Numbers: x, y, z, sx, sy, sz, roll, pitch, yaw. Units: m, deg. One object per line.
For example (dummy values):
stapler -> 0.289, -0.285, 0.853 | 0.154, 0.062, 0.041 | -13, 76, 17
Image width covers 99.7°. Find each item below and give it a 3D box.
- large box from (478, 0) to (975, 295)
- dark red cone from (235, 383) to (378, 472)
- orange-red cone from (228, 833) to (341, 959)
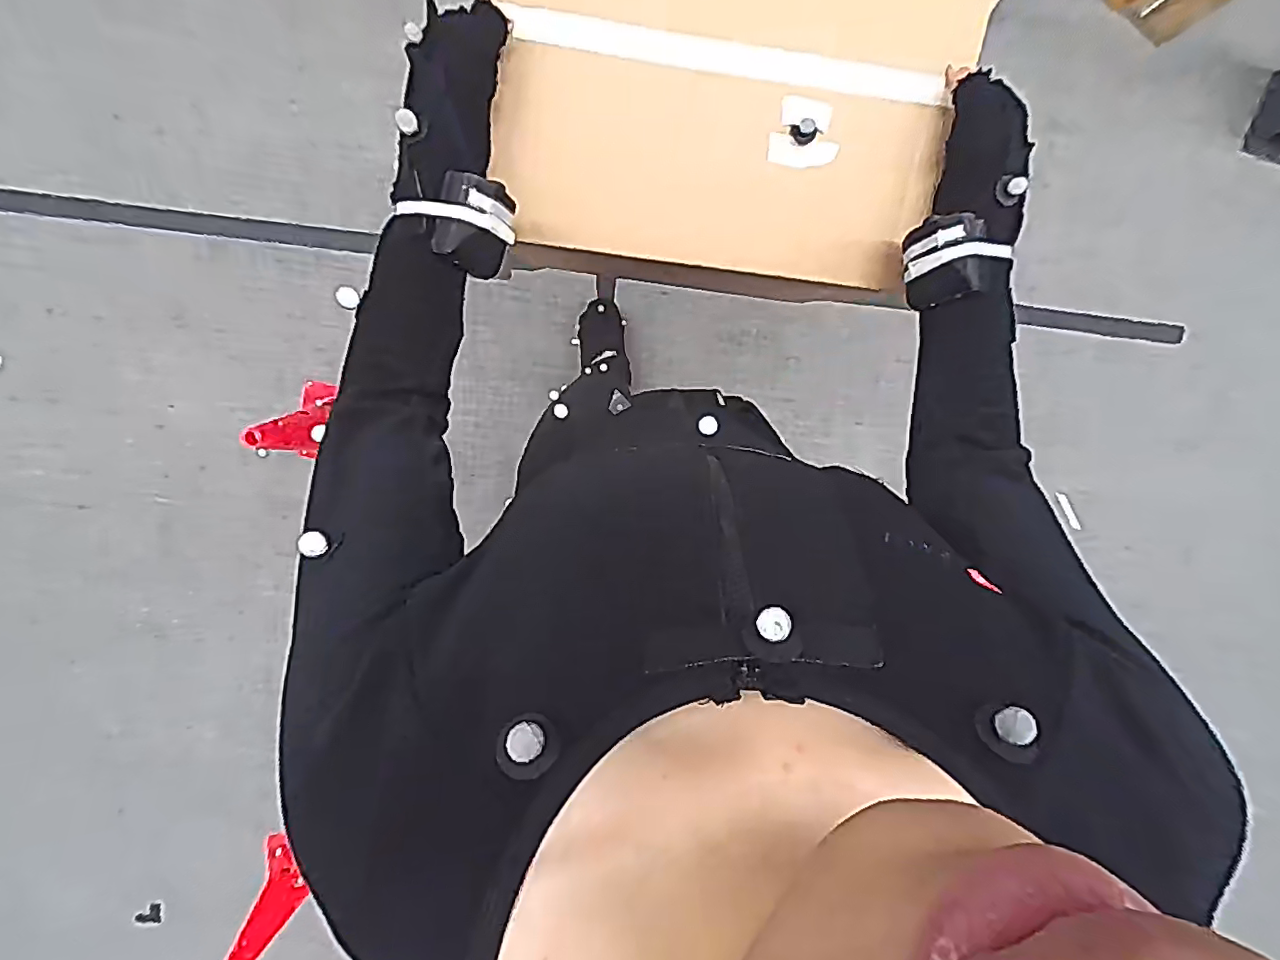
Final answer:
large box -> 0.060, -0.389, 0.586 | 0.408, 0.320, 0.320 | 5, 106, -5
dark red cone -> -0.759, -0.107, 1.204 | 0.201, 0.394, 0.202 | 11, 98, -6
orange-red cone -> -0.974, 1.157, 1.418 | 0.198, 0.360, 0.199 | 3, 100, -3
